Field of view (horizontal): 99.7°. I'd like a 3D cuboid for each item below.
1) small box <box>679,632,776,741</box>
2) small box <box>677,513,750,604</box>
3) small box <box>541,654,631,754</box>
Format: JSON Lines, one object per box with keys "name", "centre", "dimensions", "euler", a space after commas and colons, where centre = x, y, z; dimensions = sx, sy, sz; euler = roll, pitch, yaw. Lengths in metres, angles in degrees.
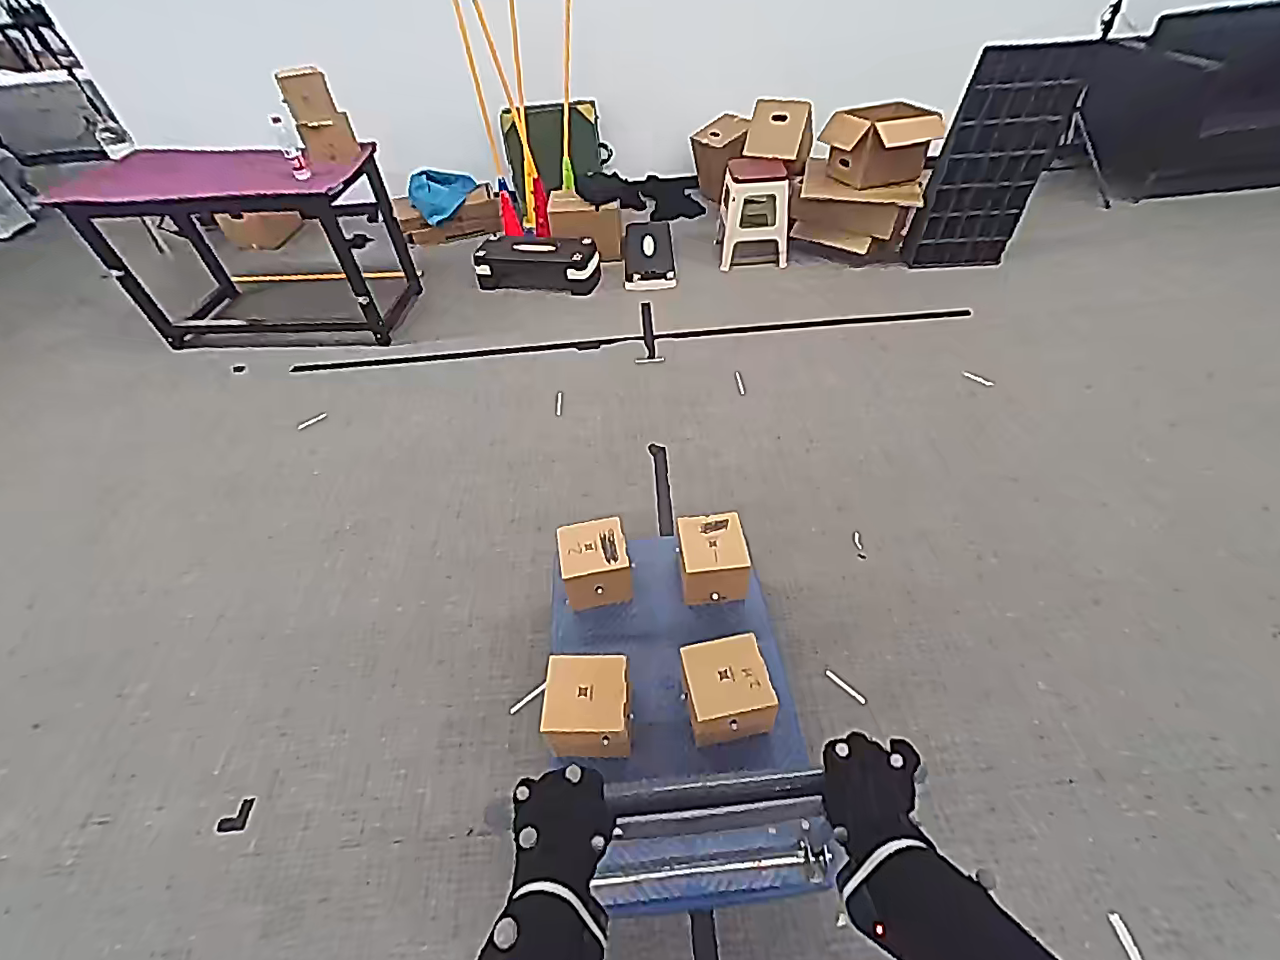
{"name": "small box", "centre": [0.192, 0.474, 1.230], "dimensions": [0.179, 0.176, 0.168], "euler": [-10, 48, -4]}
{"name": "small box", "centre": [0.192, 0.213, 1.467], "dimensions": [0.168, 0.176, 0.179], "euler": [-6, 49, -1]}
{"name": "small box", "centre": [-0.113, 0.508, 1.223], "dimensions": [0.179, 0.176, 0.168], "euler": [-1, 47, 2]}
